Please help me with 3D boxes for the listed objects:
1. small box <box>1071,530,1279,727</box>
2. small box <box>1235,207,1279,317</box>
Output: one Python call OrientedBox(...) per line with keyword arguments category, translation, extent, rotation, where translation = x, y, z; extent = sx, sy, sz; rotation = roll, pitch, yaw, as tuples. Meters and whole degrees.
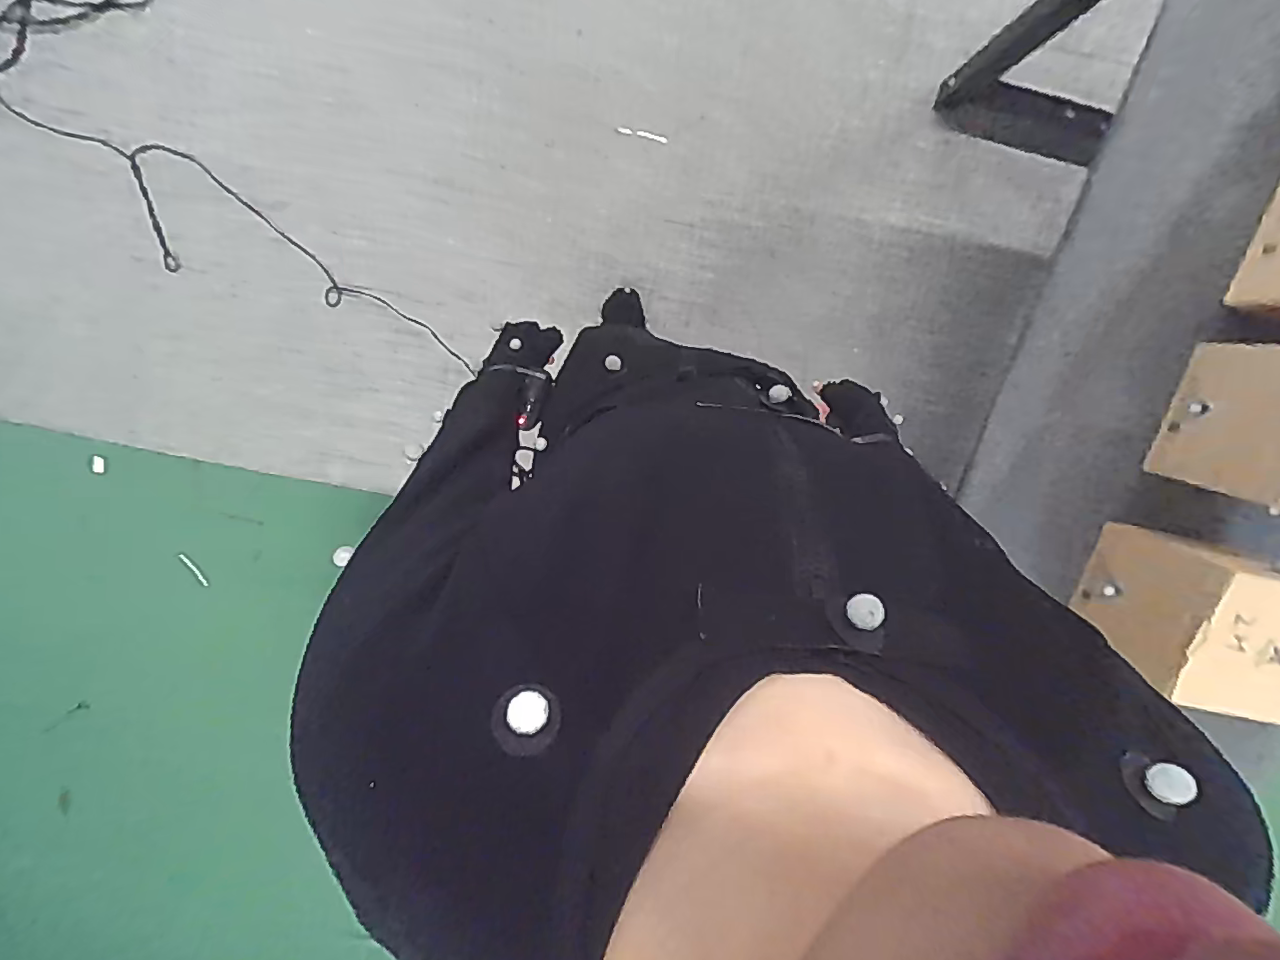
OrientedBox(category="small box", translation=(0.704, 0.174, 0.669), extent=(0.179, 0.176, 0.168), rotation=(12, 104, -2))
OrientedBox(category="small box", translation=(0.807, -0.250, 0.560), extent=(0.179, 0.176, 0.168), rotation=(12, 104, -3))
